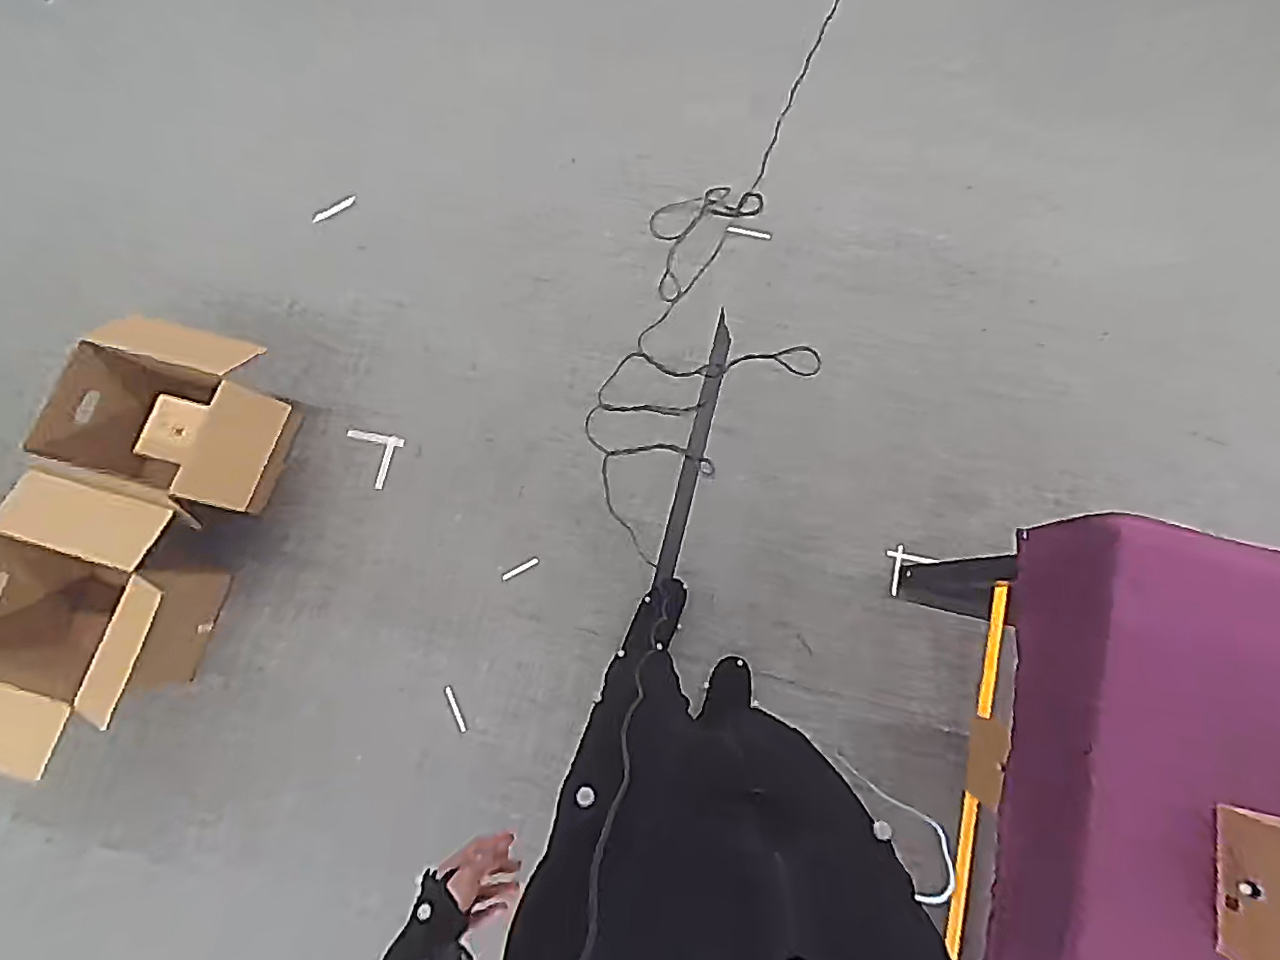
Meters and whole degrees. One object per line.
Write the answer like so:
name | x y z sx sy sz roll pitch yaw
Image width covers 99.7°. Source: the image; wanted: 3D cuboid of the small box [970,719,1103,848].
small box | 0.842 0.640 1.163 0.168 0.176 0.179 12 79 5
